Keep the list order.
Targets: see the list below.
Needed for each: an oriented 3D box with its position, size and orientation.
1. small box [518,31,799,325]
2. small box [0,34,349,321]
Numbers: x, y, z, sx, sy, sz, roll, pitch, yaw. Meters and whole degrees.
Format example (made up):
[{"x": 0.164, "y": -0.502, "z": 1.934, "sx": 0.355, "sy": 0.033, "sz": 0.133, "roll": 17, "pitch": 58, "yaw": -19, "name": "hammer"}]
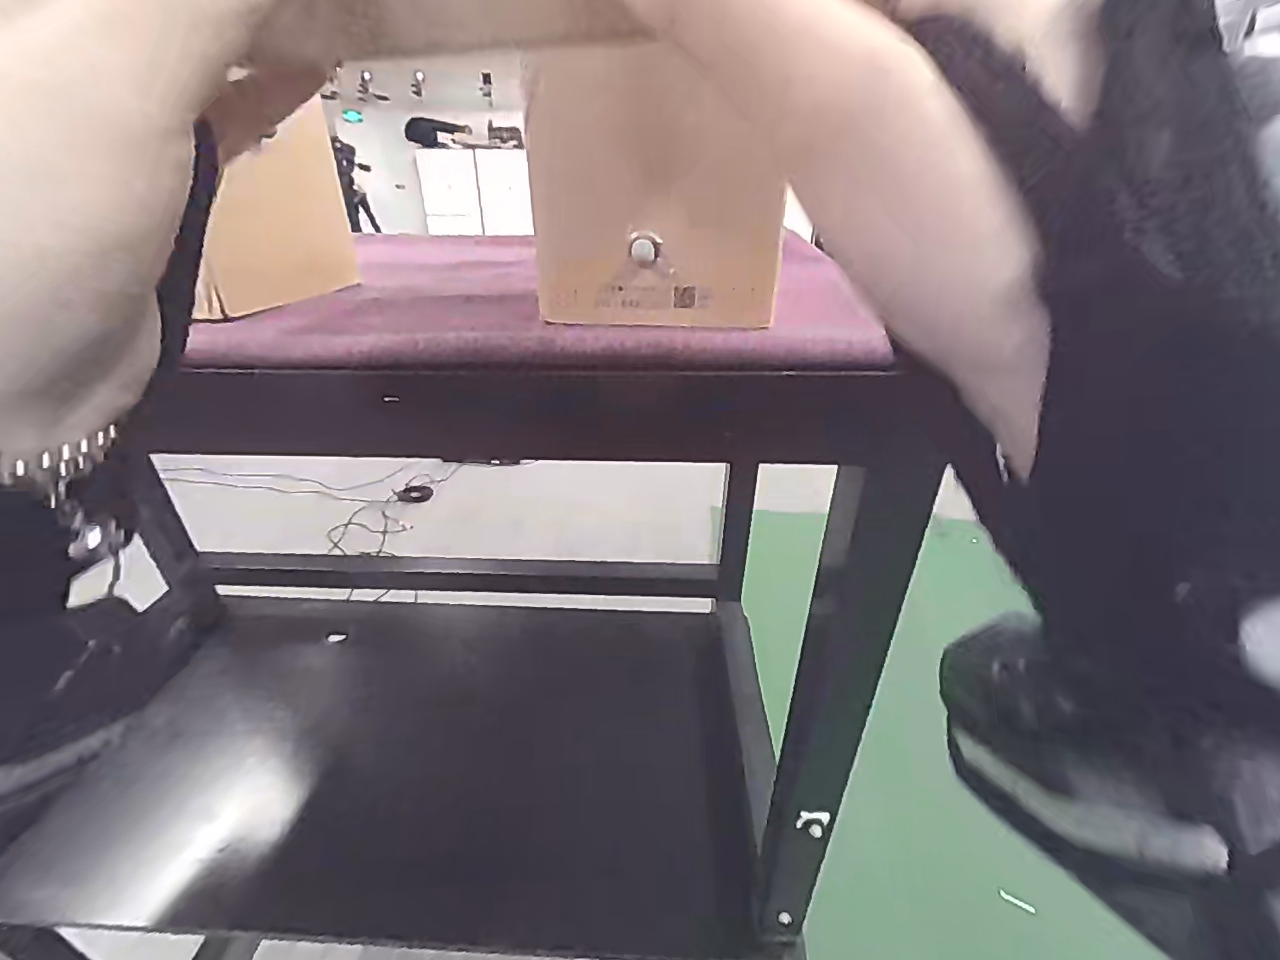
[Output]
[{"x": 0.018, "y": -0.225, "z": 0.411, "sx": 0.168, "sy": 0.176, "sz": 0.179, "roll": 2, "pitch": 31, "yaw": 7, "name": "small box"}, {"x": -0.367, "y": -0.234, "z": 0.438, "sx": 0.168, "sy": 0.176, "sz": 0.179, "roll": 3, "pitch": 29, "yaw": 6, "name": "small box"}]
